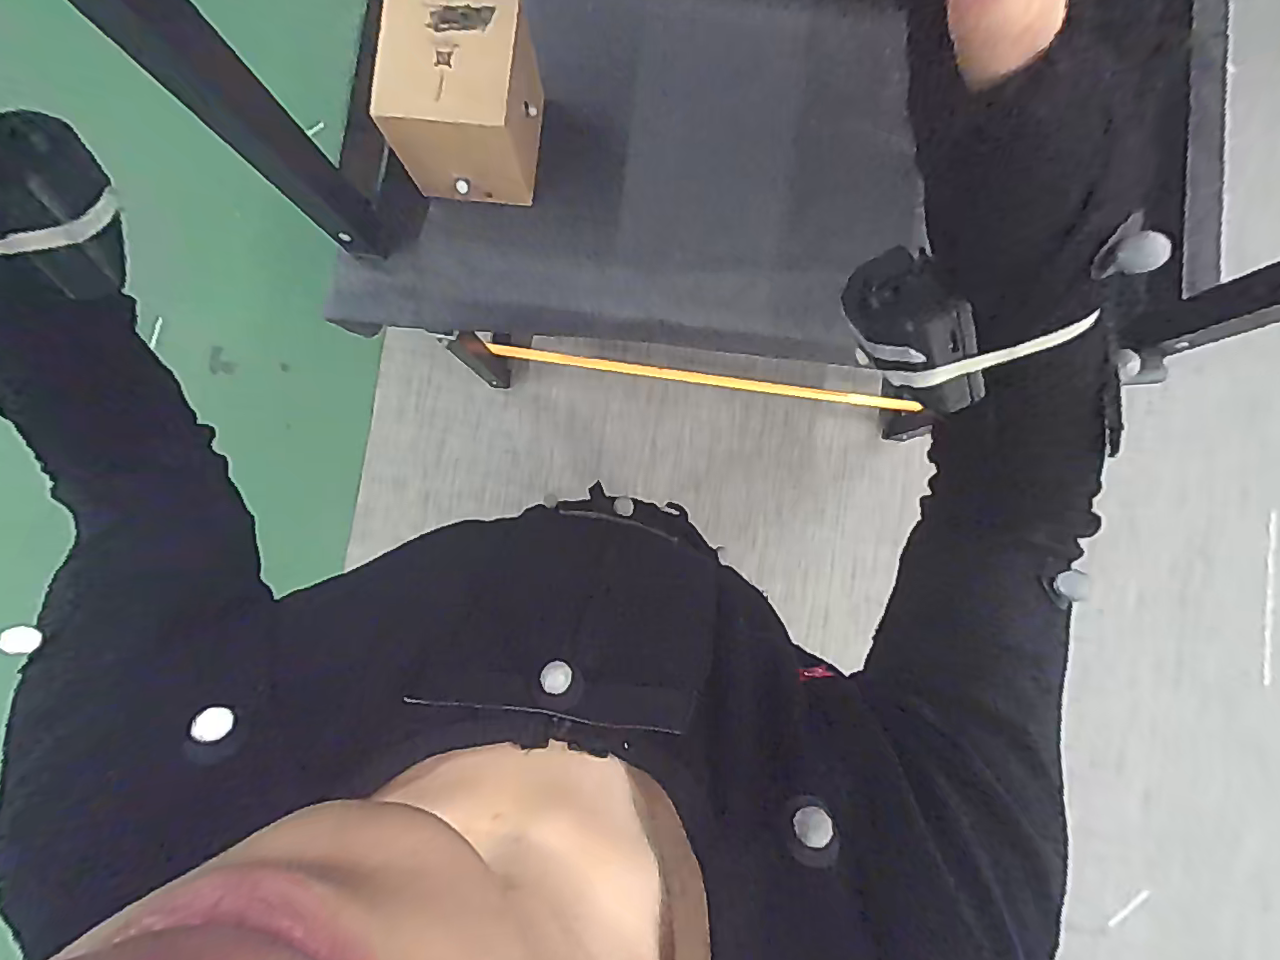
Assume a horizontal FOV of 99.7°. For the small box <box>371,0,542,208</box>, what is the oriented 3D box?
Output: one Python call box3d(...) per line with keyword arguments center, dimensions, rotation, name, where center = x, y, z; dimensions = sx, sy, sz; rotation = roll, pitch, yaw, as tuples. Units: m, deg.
box3d(center=(-0.232, -0.503, 0.728), dimensions=(0.168, 0.176, 0.179), rotation=(5, 86, 1), name="small box")
